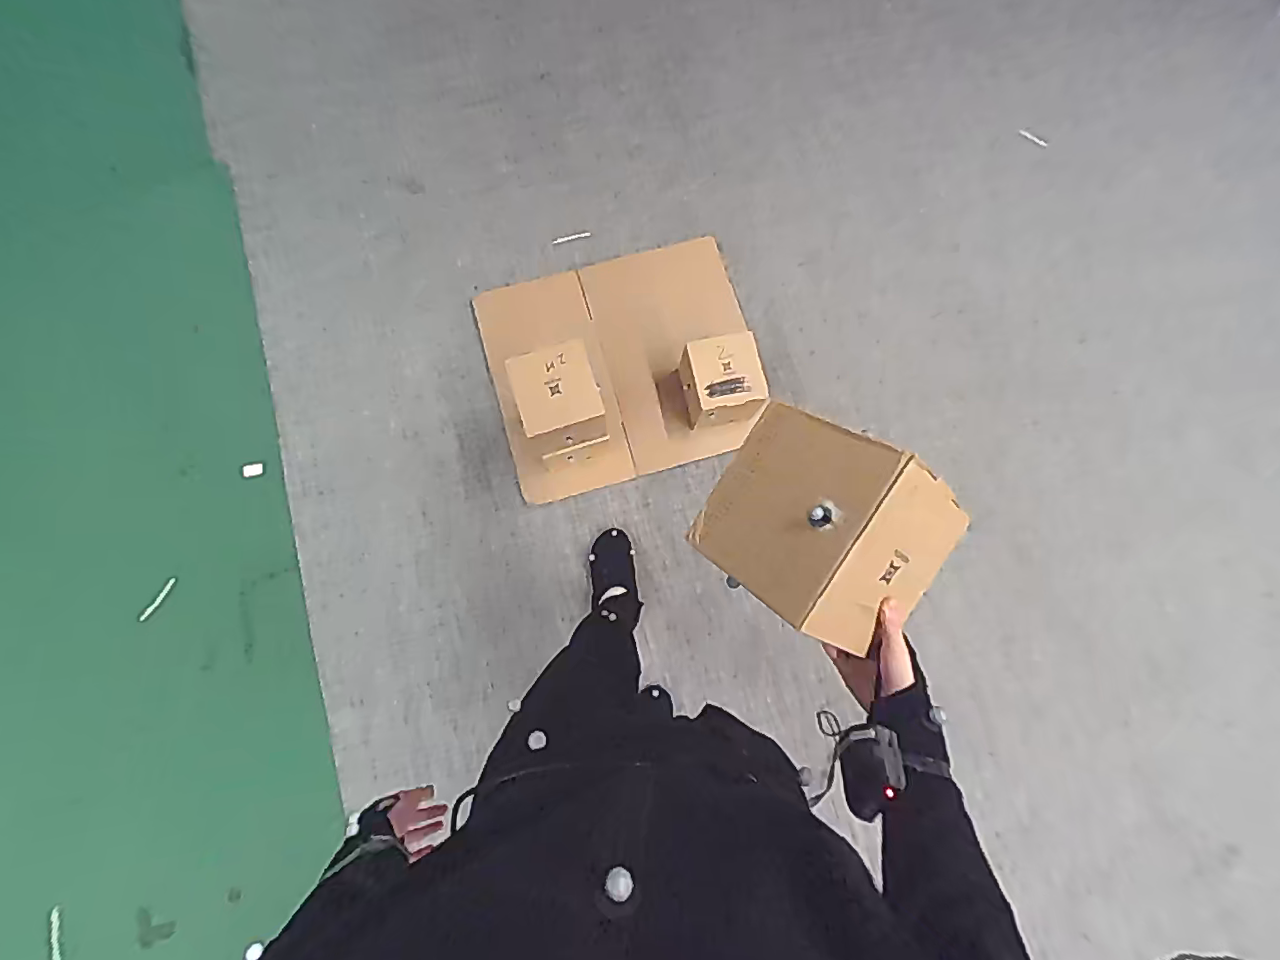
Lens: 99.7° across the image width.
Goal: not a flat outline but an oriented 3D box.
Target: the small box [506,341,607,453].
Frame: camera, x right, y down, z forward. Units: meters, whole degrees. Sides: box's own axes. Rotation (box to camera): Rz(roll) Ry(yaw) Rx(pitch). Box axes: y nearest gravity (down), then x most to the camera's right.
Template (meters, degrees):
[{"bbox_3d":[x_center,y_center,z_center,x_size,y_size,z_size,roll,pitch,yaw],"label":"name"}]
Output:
[{"bbox_3d":[-0.170,-0.168,1.161,0.168,0.176,0.179,-17,80,-5],"label":"small box"}]

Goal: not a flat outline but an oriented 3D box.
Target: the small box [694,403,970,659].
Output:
[{"bbox_3d":[0.187,0.045,0.548,0.168,0.176,0.179,31,93,-40],"label":"small box"}]

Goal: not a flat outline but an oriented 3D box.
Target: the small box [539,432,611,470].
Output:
[{"bbox_3d":[-0.171,-0.132,1.322,0.168,0.176,0.179,-18,80,-5],"label":"small box"}]
